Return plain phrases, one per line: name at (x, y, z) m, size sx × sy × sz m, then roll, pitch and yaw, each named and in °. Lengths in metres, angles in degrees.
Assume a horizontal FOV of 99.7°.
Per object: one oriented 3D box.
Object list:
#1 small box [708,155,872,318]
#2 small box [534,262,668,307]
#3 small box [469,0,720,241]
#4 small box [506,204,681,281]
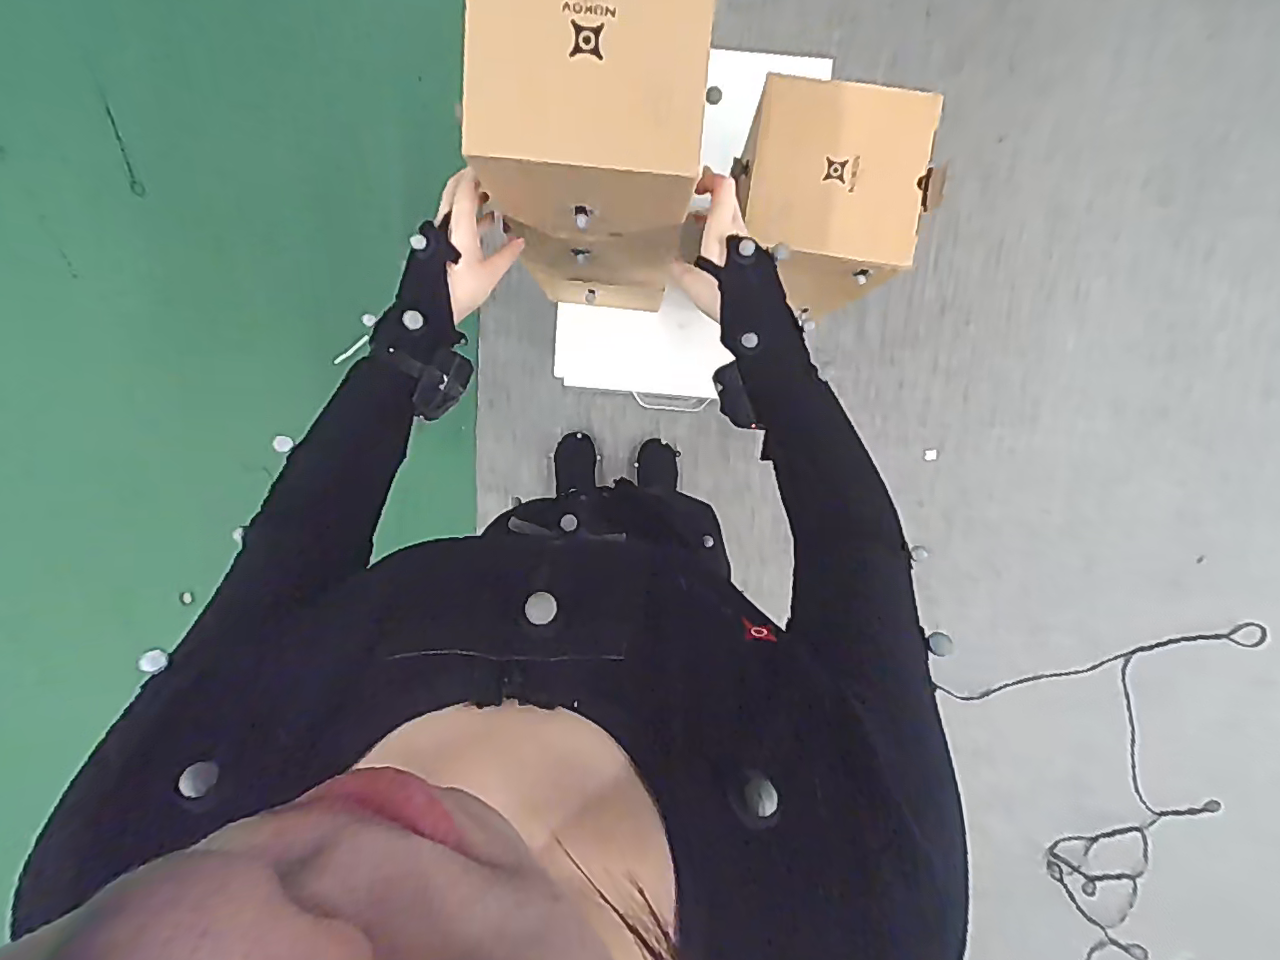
small box at (0.201, -0.333, 0.774) m, size 0.179 × 0.176 × 0.168 m, roll 6°, pitch 97°, yaw 1°
small box at (-0.044, -0.348, 0.768) m, size 0.179 × 0.176 × 0.168 m, roll 5°, pitch 98°, yaw -2°
small box at (-0.032, -0.311, 0.441) m, size 0.168 × 0.176 × 0.179 m, roll 5°, pitch 98°, yaw -3°
small box at (-0.042, -0.330, 0.605) m, size 0.179 × 0.176 × 0.168 m, roll 5°, pitch 98°, yaw -3°
